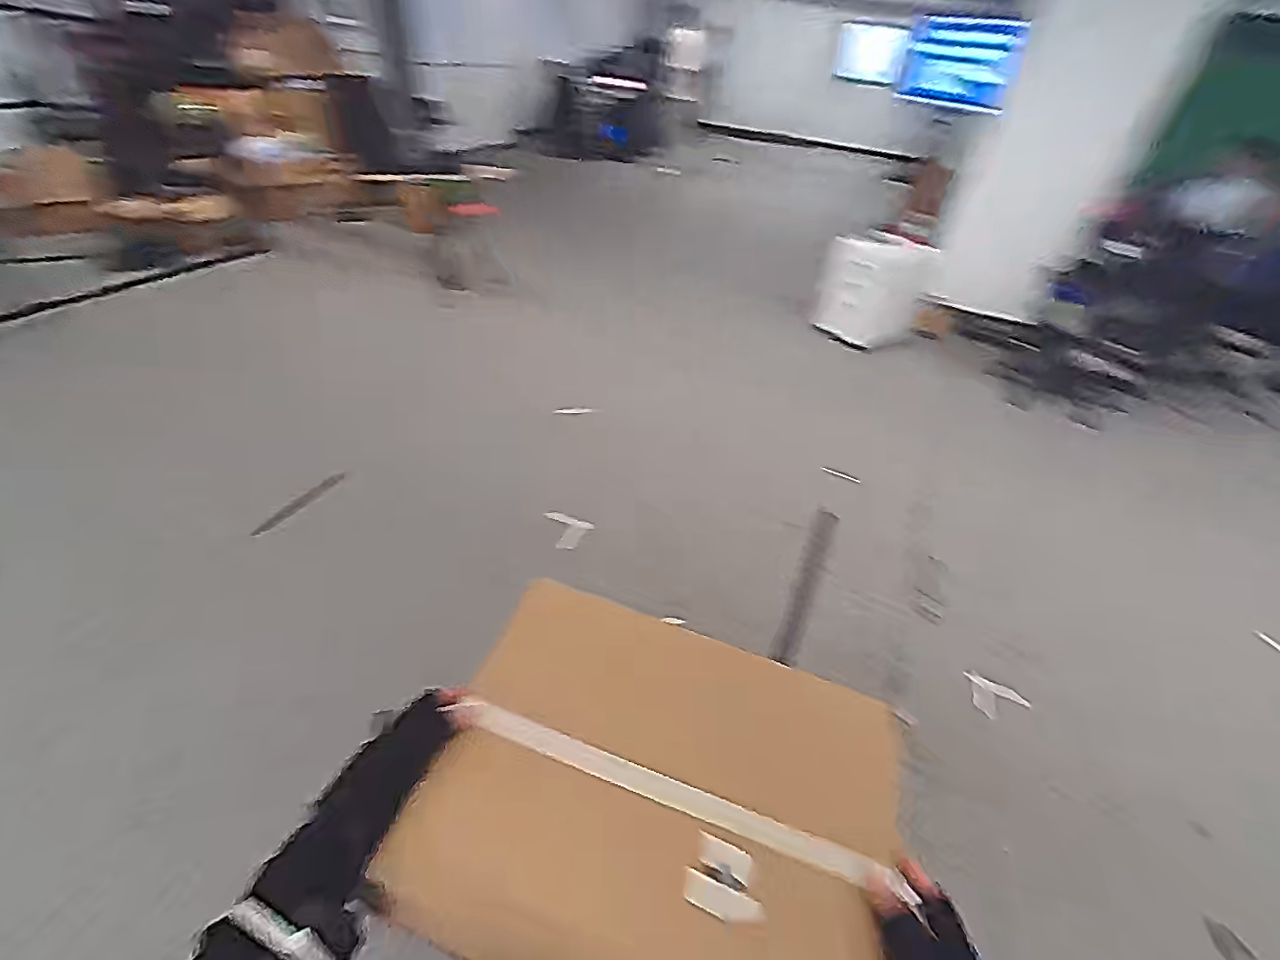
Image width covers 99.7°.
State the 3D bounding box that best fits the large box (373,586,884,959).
[{"bbox_3d":[0.005,0.380,0.602,0.408,0.320,0.320,18,48,9],"label":"large box"}]
